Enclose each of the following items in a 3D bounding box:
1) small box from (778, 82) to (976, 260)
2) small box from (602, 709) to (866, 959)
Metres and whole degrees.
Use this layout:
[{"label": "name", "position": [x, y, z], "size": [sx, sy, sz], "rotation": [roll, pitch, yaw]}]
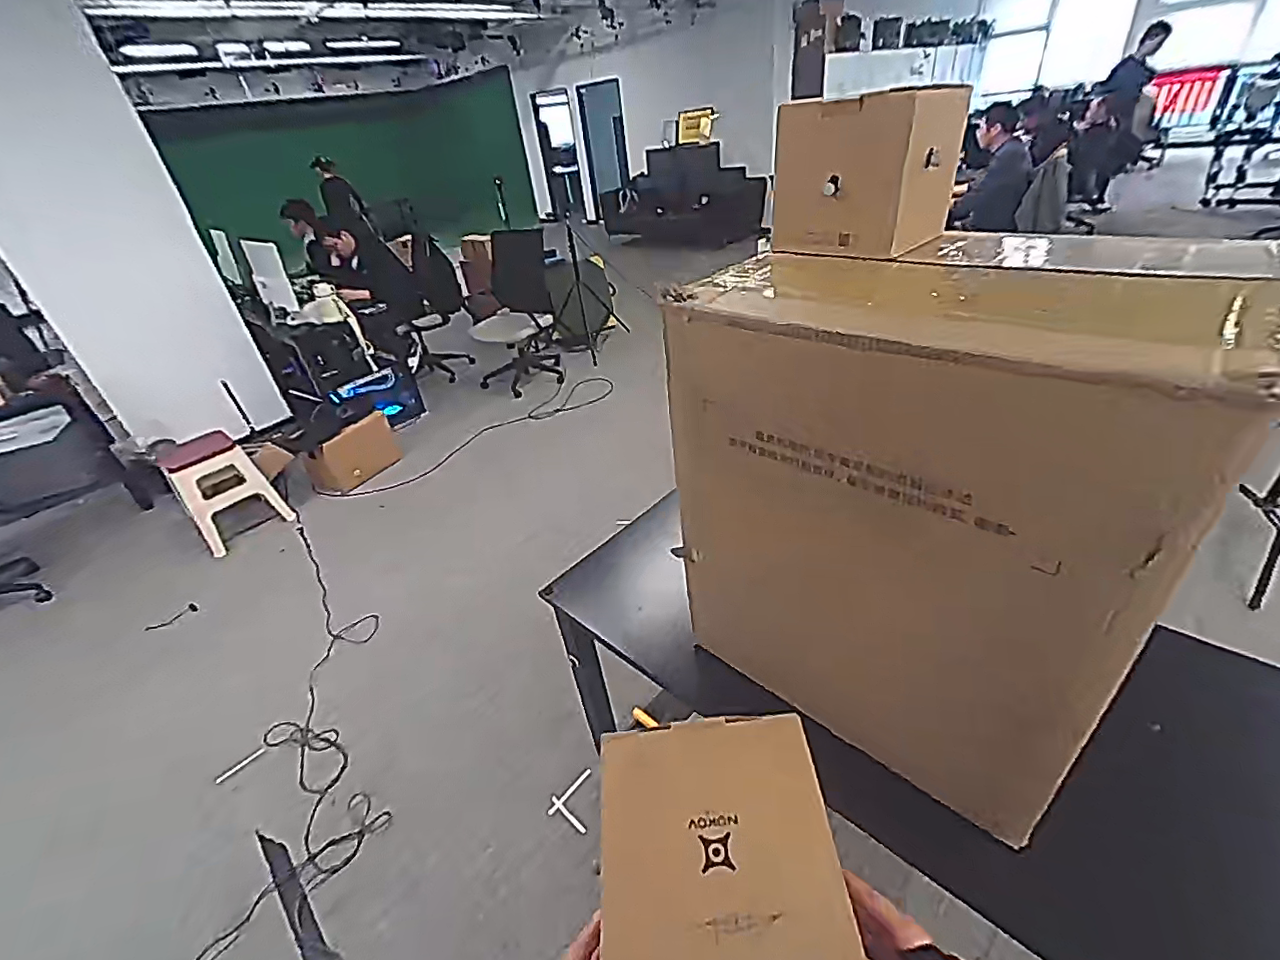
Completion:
[{"label": "small box", "position": [0.289, -0.385, 0.682], "size": [0.168, 0.176, 0.179], "rotation": [24, 44, 37]}, {"label": "small box", "position": [0.062, 0.312, 0.436], "size": [0.168, 0.176, 0.179], "rotation": [-7, 43, 2]}]
